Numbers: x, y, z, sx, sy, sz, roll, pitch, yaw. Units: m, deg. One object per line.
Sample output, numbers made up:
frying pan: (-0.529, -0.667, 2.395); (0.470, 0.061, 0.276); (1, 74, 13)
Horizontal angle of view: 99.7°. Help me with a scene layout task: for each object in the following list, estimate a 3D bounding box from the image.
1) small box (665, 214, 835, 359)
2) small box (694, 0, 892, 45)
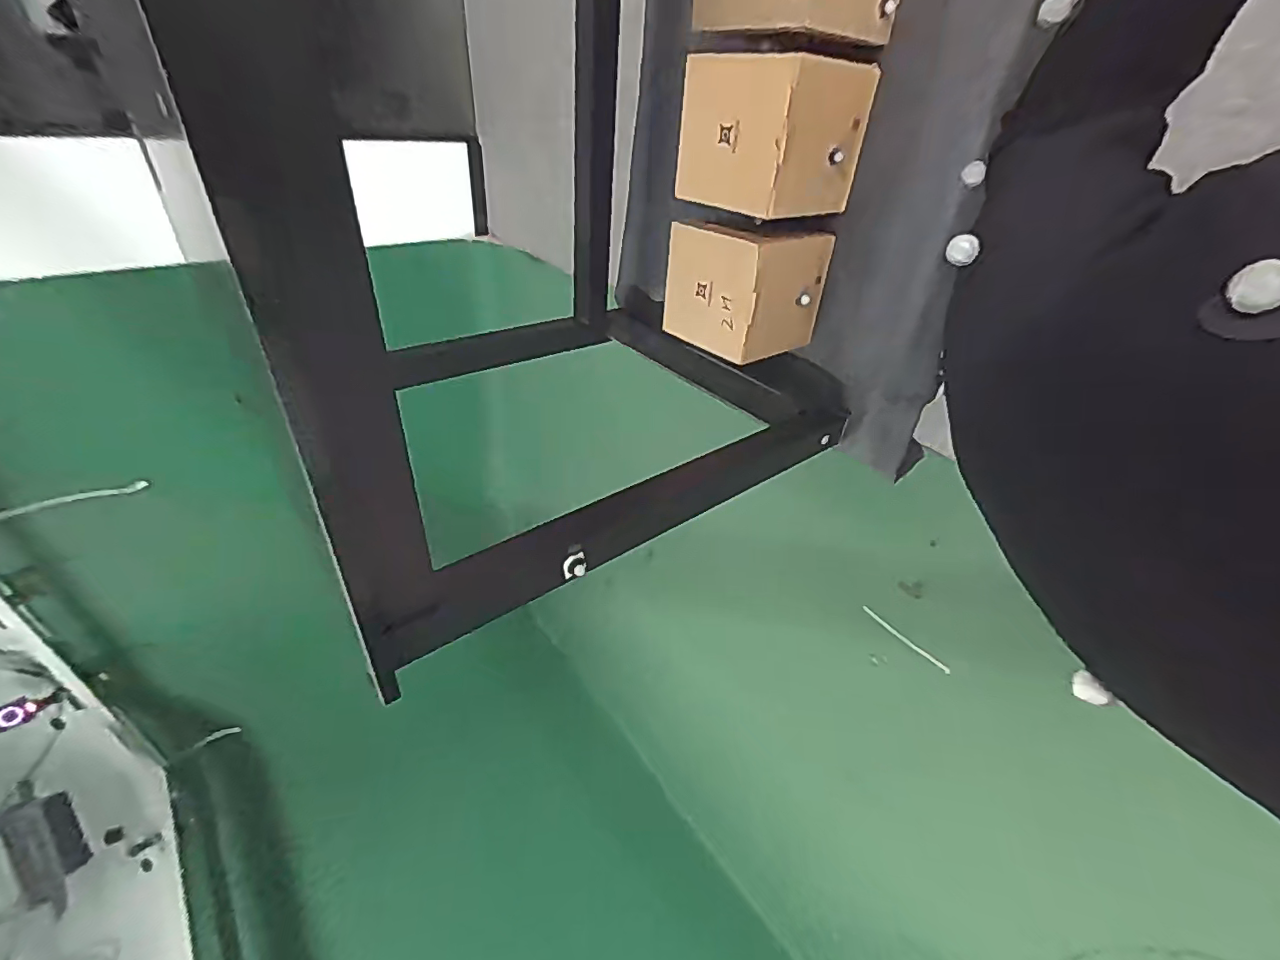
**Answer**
small box: (0.162, -0.304, 0.830); (0.179, 0.176, 0.168); (37, 137, 38)
small box: (0.188, -0.609, 0.613); (0.179, 0.176, 0.168); (38, 137, 38)
